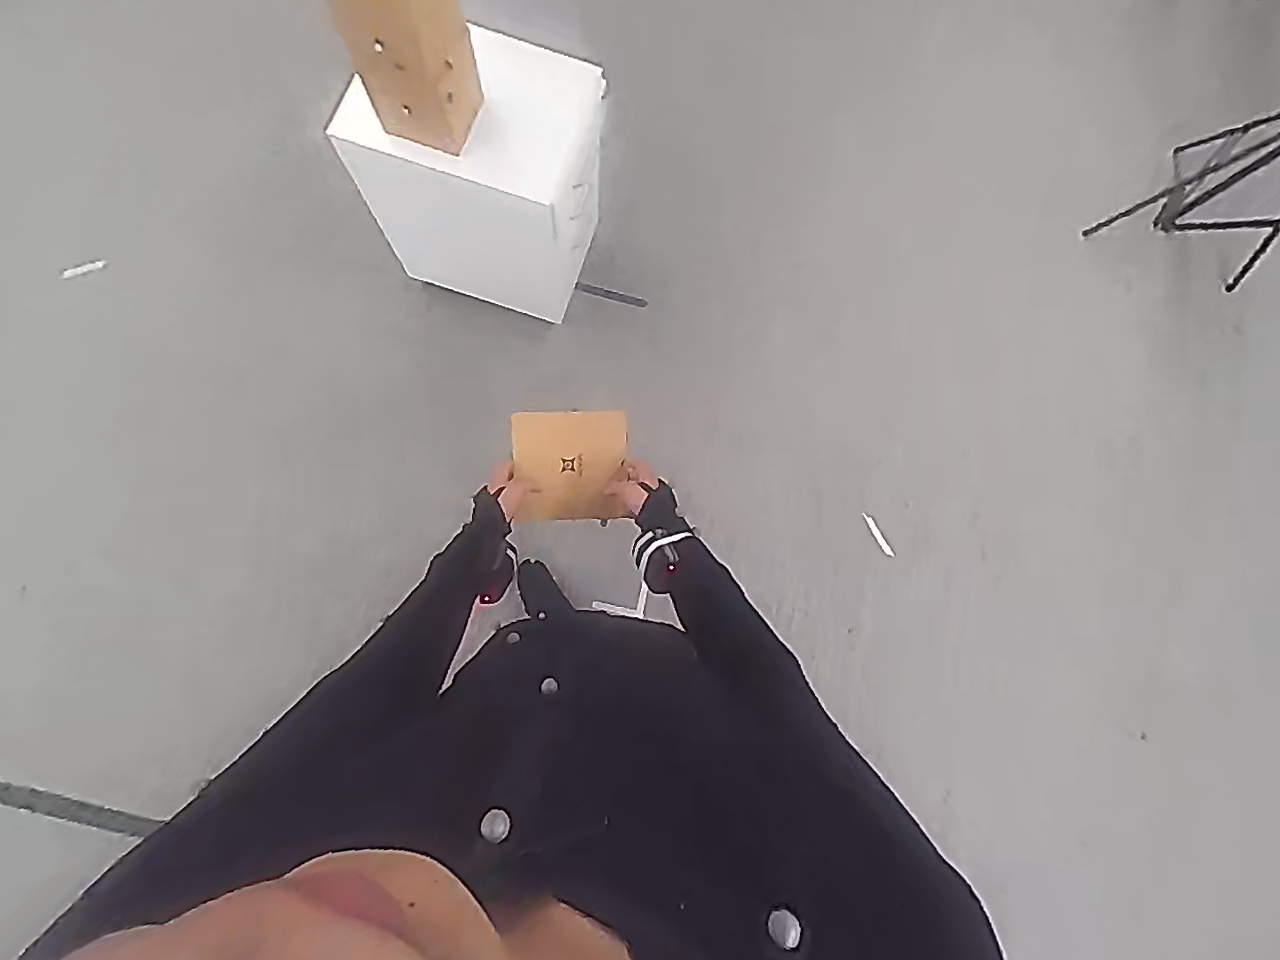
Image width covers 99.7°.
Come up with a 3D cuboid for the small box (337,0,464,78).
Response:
[{"bbox_3d":[-0.429,-0.876,0.959,0.168,0.176,0.179,19,78,-1],"label":"small box"}]

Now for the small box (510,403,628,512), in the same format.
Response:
[{"bbox_3d":[-0.113,-0.034,0.897,0.179,0.176,0.168,-2,91,-6],"label":"small box"}]
